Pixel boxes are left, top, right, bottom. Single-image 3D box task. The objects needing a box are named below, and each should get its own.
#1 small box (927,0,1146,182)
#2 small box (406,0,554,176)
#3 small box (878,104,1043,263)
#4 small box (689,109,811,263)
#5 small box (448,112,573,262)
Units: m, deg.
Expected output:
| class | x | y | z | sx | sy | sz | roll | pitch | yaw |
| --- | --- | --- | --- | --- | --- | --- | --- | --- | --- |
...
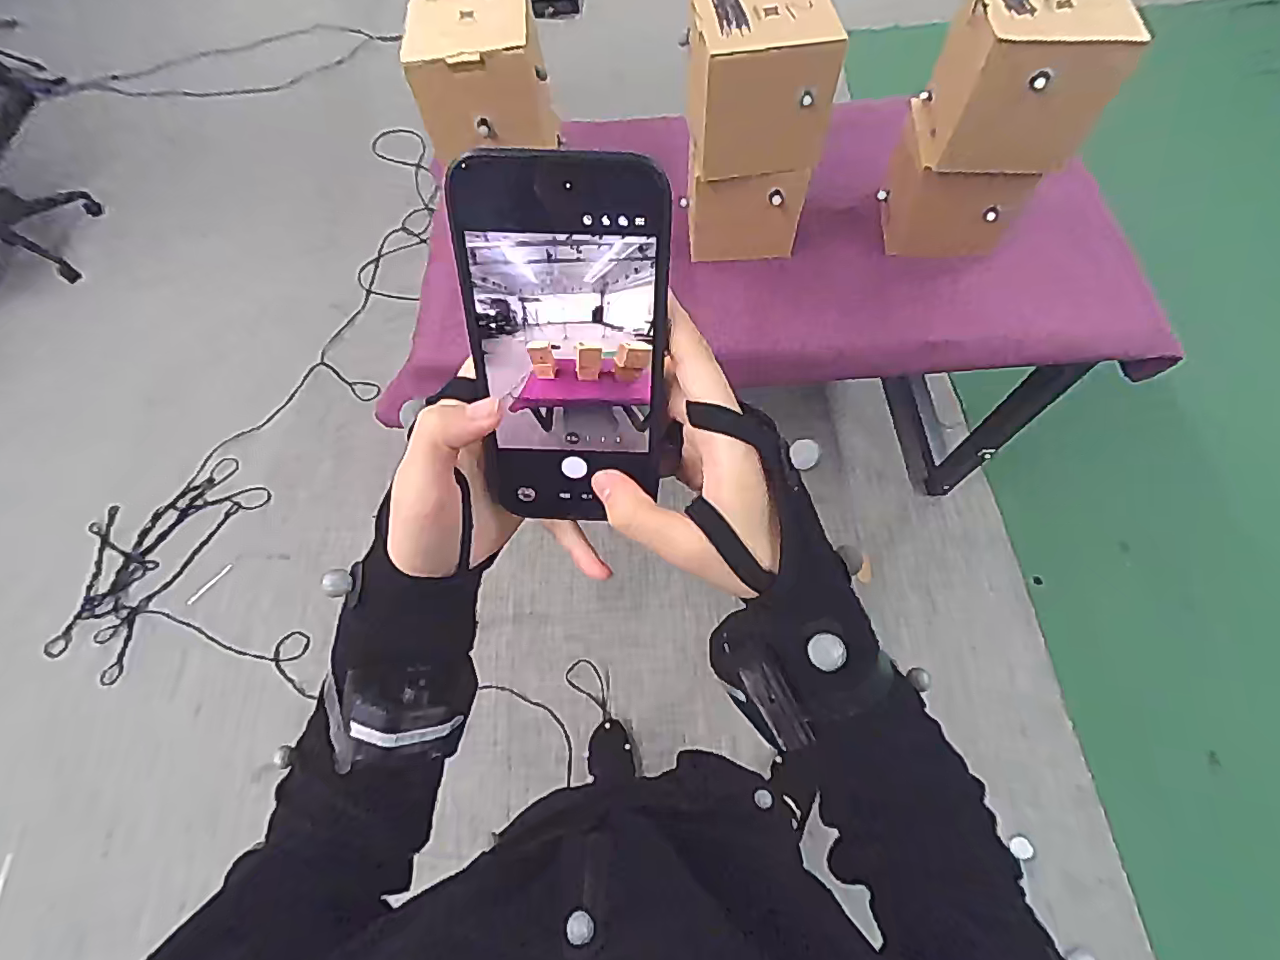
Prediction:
| class | x | y | z | sx | sy | sz | roll | pitch | yaw |
| --- | --- | --- | --- | --- | --- | --- | --- | --- | --- |
| small box | 0.514 | -0.536 | 0.739 | 0.179 | 0.176 | 0.168 | 5 | 65 | 5 |
| small box | -0.223 | -0.578 | 0.801 | 0.168 | 0.176 | 0.179 | -5 | 66 | 1 |
| small box | 0.514 | -0.482 | 0.894 | 0.179 | 0.176 | 0.168 | 5 | 65 | 6 |
| small box | 0.175 | -0.490 | 0.916 | 0.179 | 0.176 | 0.168 | -1 | 65 | 3 |
| small box | -0.215 | -0.502 | 0.947 | 0.168 | 0.176 | 0.179 | 0 | 65 | 3 |
